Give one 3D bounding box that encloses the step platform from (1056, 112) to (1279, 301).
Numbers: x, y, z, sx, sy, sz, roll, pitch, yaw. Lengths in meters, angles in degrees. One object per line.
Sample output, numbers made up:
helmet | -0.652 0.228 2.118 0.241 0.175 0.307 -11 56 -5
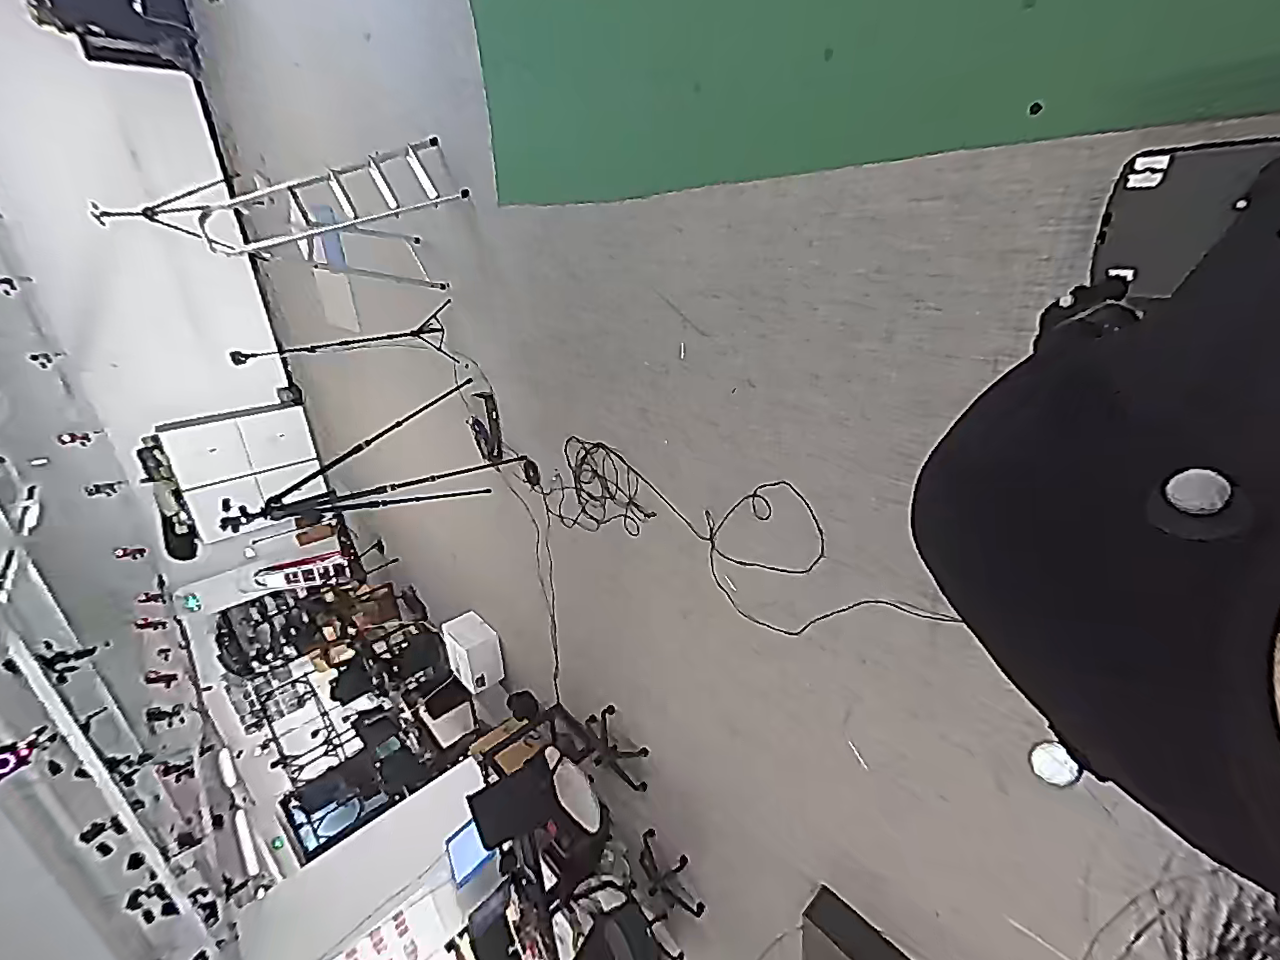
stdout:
step platform | 1.077 -0.418 0.814 0.684 0.204 0.286 22 124 44
